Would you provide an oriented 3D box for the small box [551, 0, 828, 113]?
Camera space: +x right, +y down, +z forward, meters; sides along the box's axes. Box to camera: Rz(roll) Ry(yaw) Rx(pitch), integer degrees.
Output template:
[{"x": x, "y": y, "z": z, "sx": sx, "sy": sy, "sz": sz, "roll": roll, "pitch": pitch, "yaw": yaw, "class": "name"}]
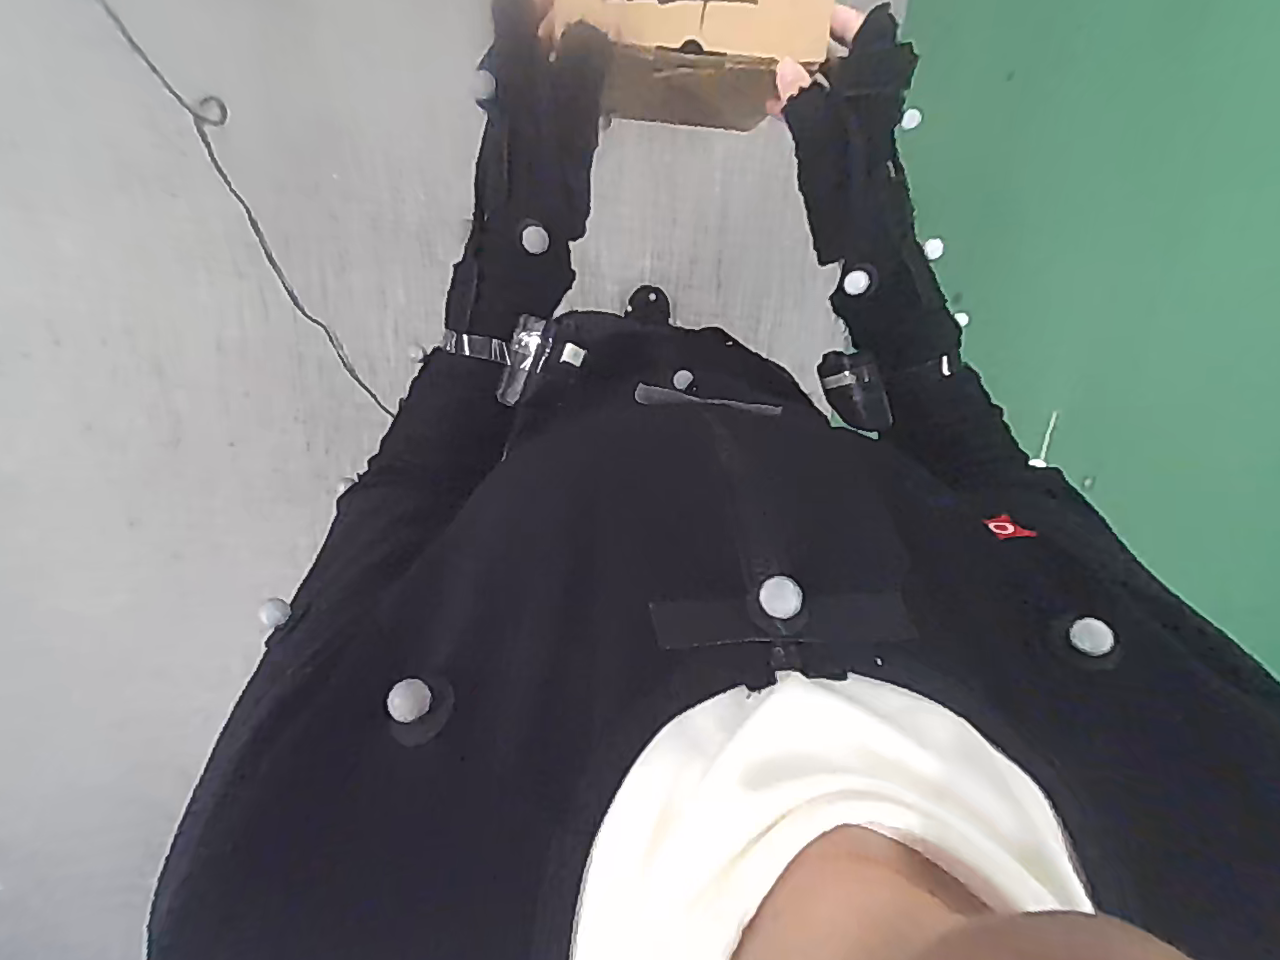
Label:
[{"x": 0.031, "y": -0.372, "z": 0.366, "sx": 0.168, "sy": 0.176, "sz": 0.179, "roll": 2, "pitch": 111, "yaw": -5, "class": "small box"}]
